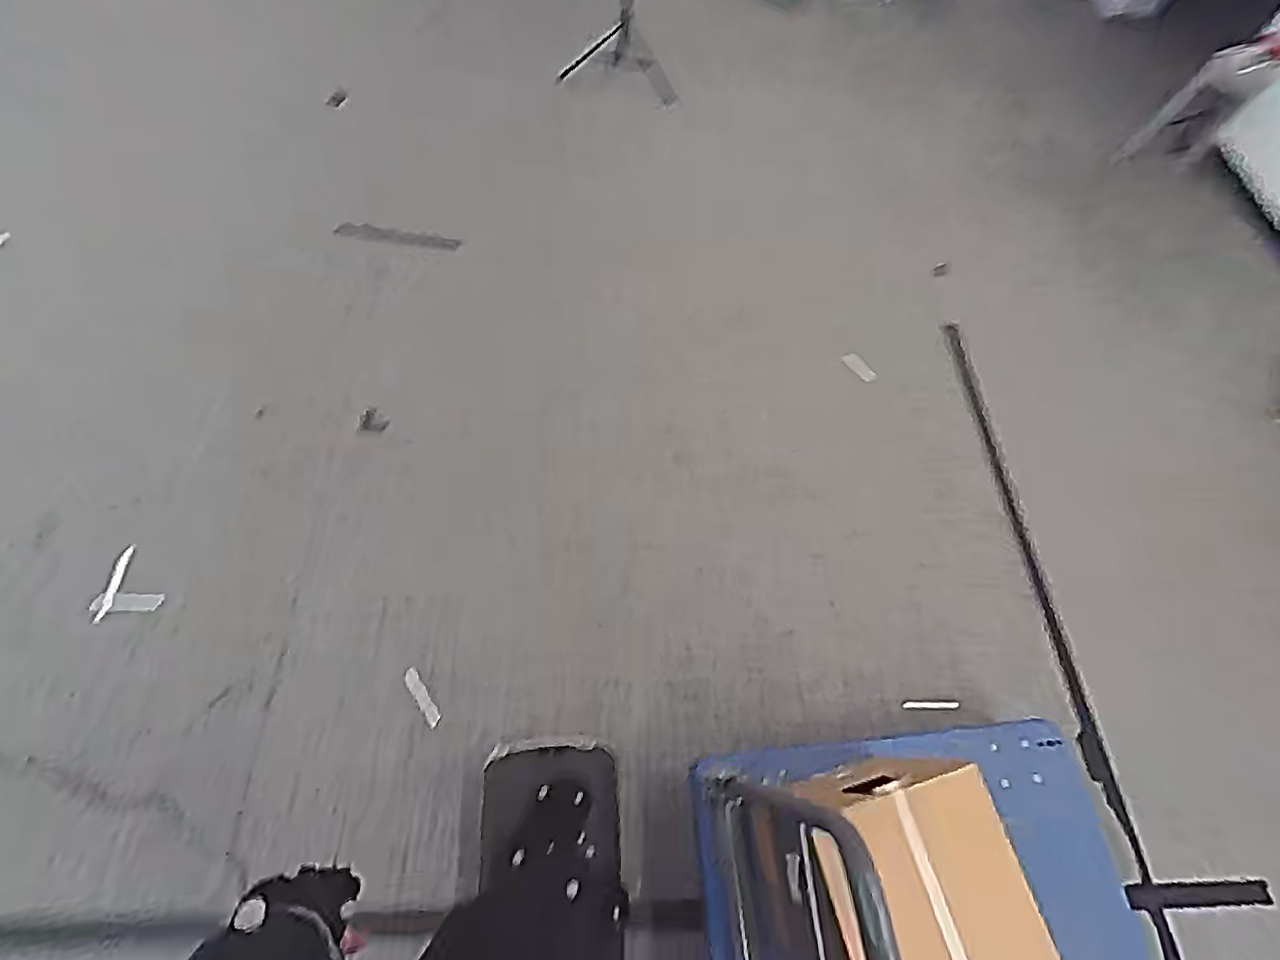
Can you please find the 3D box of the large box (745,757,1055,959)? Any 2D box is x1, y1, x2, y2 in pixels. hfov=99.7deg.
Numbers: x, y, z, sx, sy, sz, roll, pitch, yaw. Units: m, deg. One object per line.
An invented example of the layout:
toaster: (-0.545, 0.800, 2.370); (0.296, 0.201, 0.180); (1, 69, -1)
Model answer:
large box: (0.421, 0.729, 0.911); (0.320, 0.320, 0.408); (-9, 67, -13)
